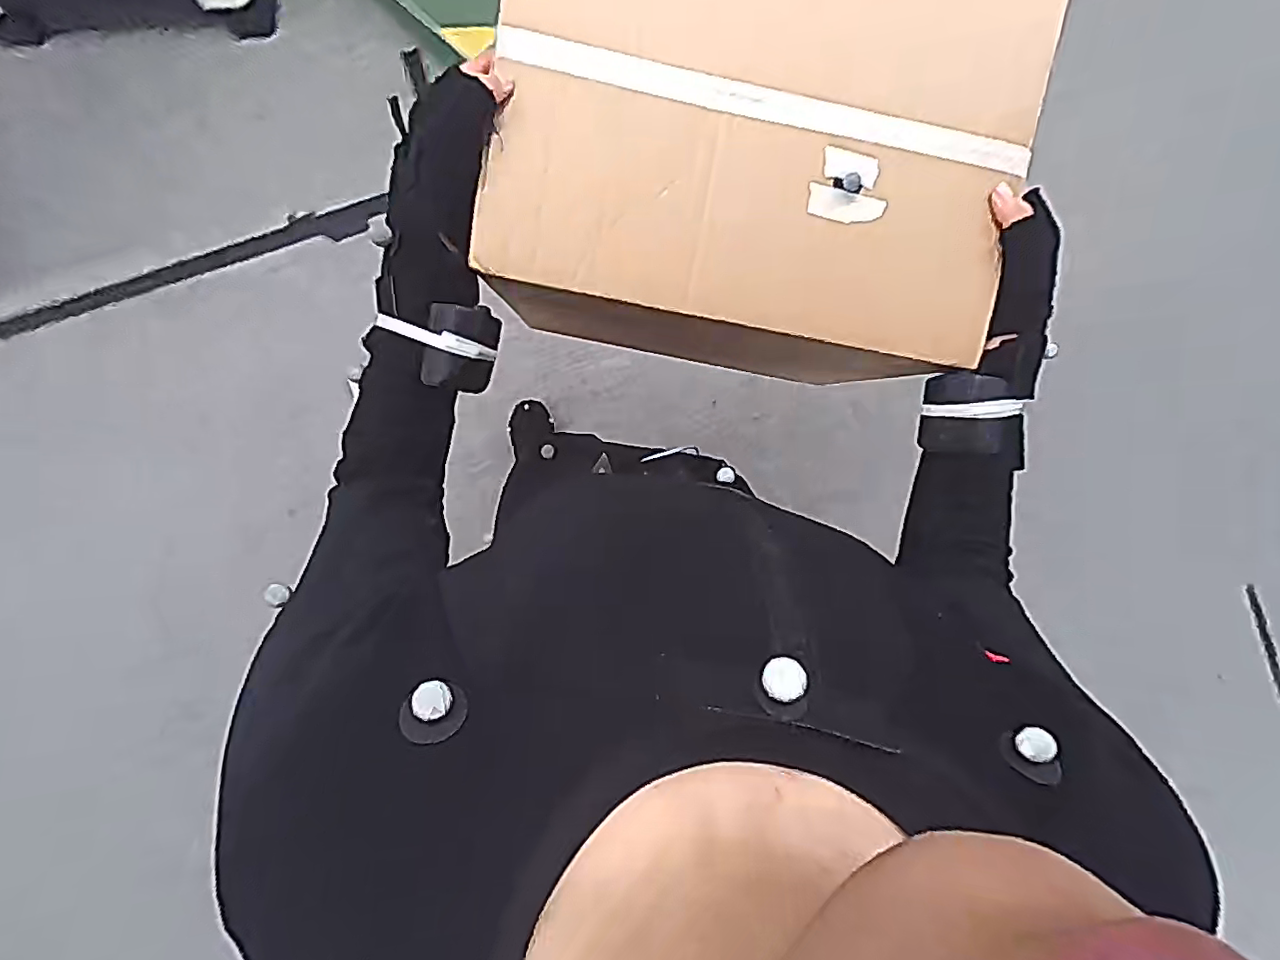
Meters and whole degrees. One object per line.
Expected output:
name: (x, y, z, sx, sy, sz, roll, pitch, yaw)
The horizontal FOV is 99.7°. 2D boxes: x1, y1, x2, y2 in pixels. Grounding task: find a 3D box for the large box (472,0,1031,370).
large box: (0.074, -0.303, 0.556, 0.408, 0.320, 0.320, 9, 98, -6)
